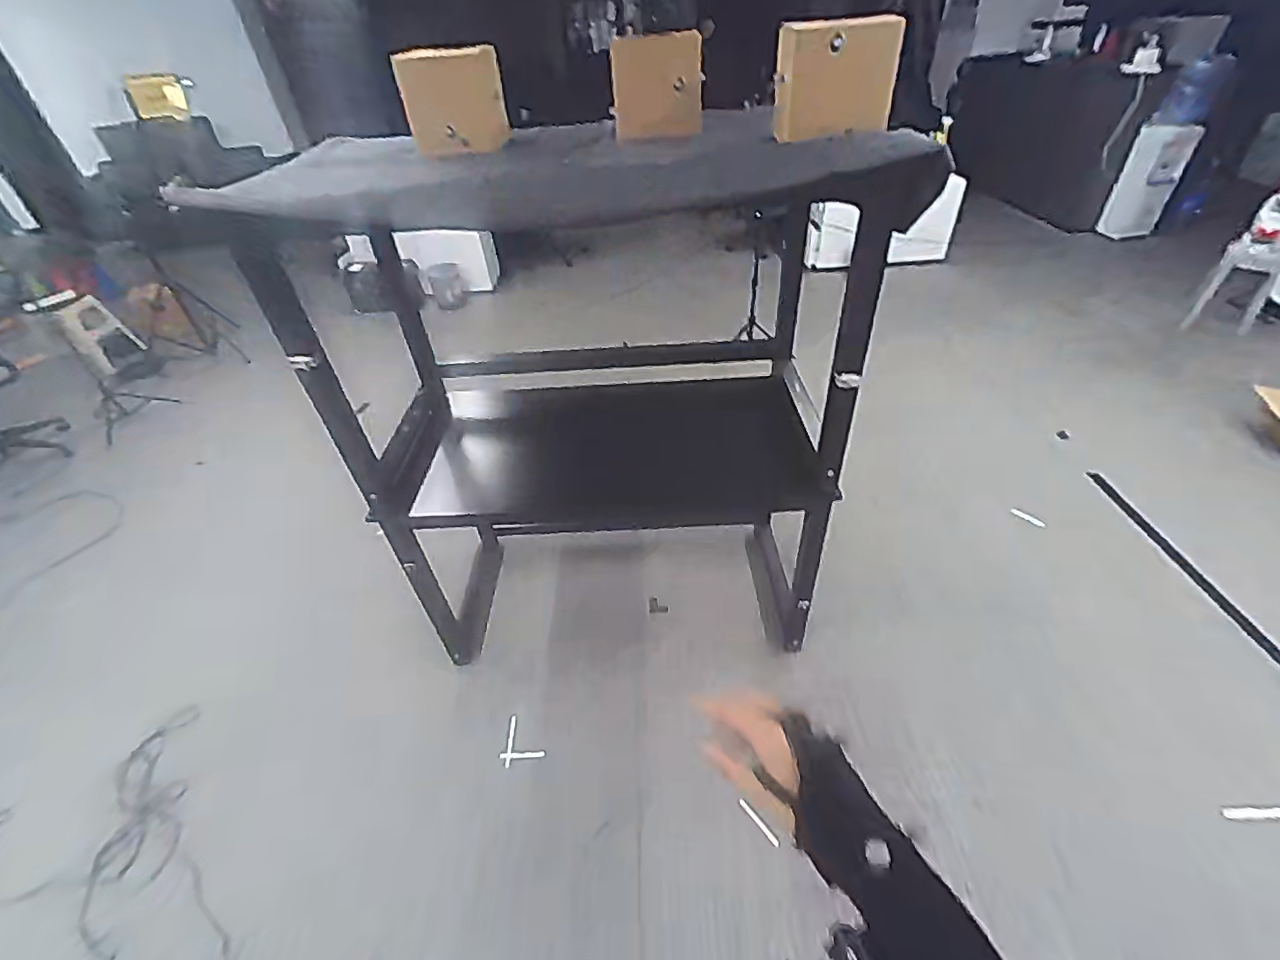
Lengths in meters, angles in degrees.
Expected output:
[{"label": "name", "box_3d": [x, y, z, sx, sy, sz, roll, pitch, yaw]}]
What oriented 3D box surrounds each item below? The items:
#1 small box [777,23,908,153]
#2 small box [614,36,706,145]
[{"label": "small box", "box_3d": [0.337, -0.679, 0.942, 0.168, 0.176, 0.179, -1, 39, 5]}, {"label": "small box", "box_3d": [0.043, -0.818, 1.136, 0.179, 0.176, 0.168, -1, 40, 3]}]
